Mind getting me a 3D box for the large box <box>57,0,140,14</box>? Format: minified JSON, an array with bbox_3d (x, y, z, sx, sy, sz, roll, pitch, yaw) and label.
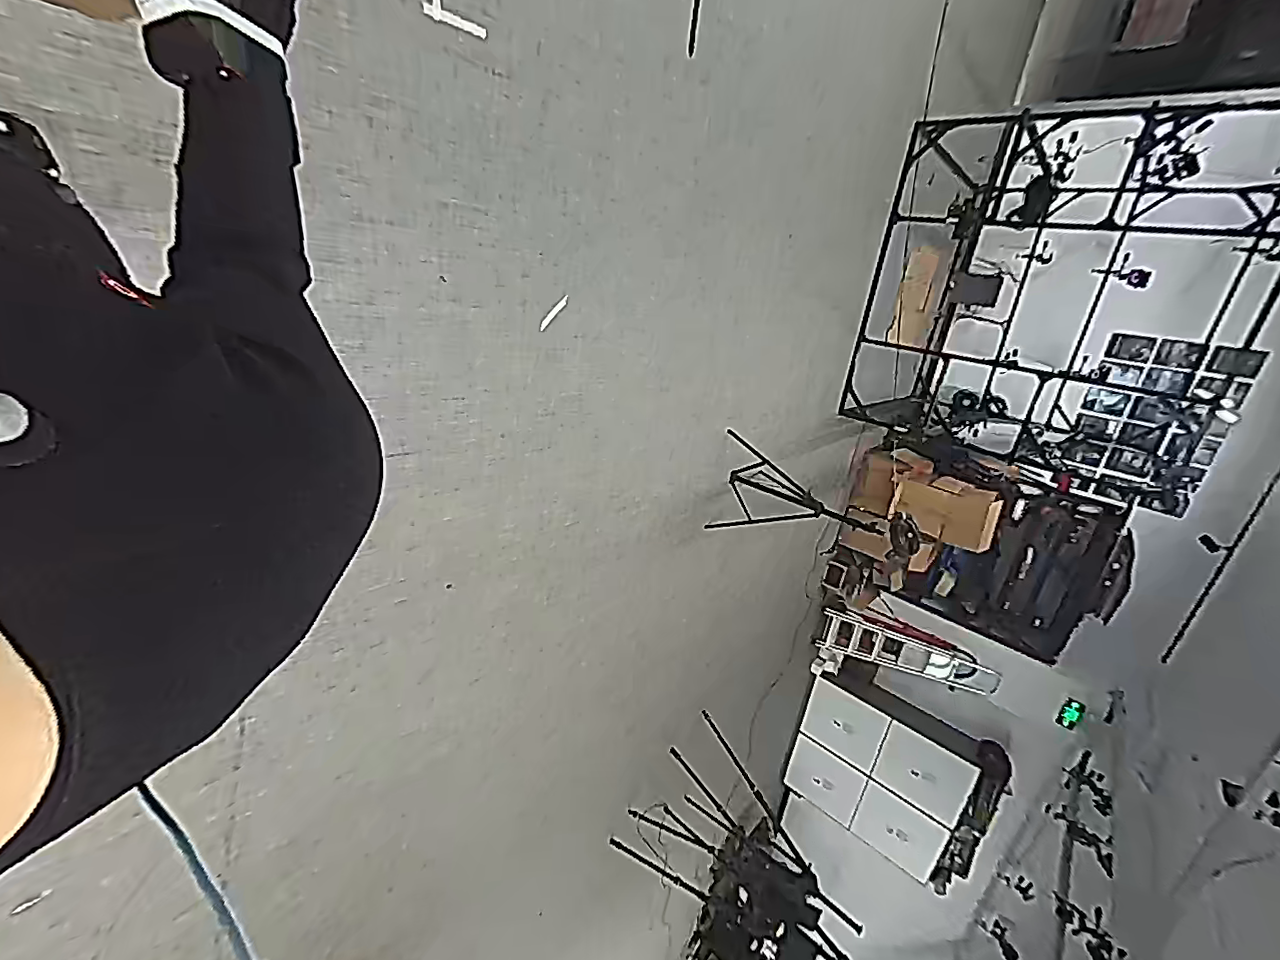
[{"bbox_3d":[-0.523,-0.506,0.258,0.408,0.320,0.320,-16,126,-48],"label":"large box"}]
